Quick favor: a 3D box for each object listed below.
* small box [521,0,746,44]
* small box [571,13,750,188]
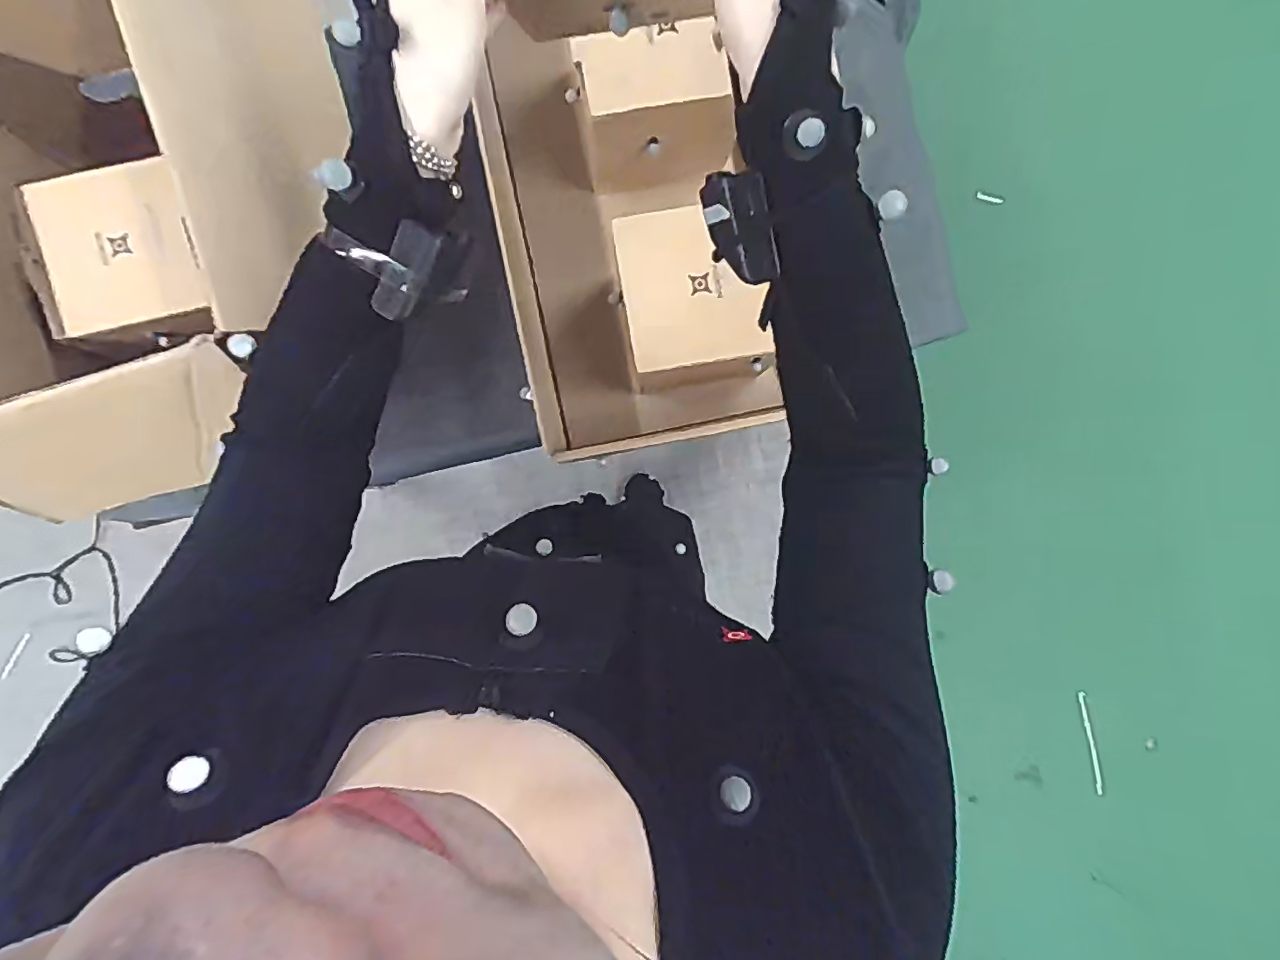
[{"bbox_3d":[-0.014,-0.396,0.314,0.168,0.176,0.179,-2,114,7],"label":"small box"},{"bbox_3d":[0.016,-0.472,0.634,0.179,0.176,0.168,-11,94,0],"label":"small box"}]
